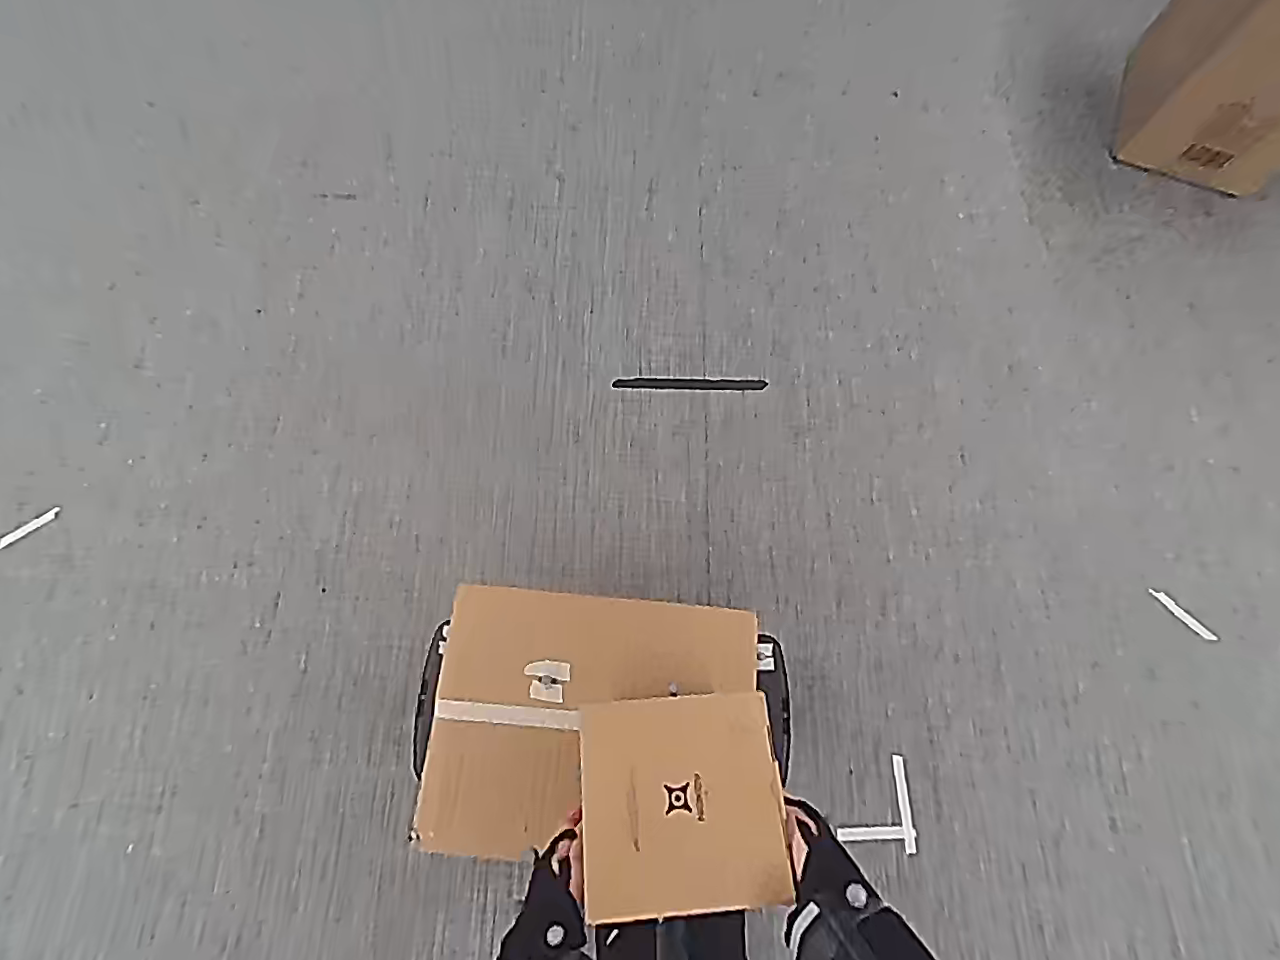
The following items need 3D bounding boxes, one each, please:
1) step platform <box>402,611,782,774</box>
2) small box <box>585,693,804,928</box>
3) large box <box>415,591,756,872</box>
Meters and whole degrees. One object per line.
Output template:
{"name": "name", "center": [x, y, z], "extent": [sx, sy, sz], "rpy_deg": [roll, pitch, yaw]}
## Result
{"name": "step platform", "center": [-0.081, 0.436, 1.034], "extent": [0.684, 0.204, 0.286], "rpy_deg": [7, 72, 2]}
{"name": "small box", "center": [0.038, 0.305, 0.532], "extent": [0.179, 0.176, 0.168], "rpy_deg": [-3, 65, -4]}
{"name": "large box", "center": [-0.054, 0.351, 0.811], "extent": [0.408, 0.320, 0.320], "rpy_deg": [5, 71, 1]}
